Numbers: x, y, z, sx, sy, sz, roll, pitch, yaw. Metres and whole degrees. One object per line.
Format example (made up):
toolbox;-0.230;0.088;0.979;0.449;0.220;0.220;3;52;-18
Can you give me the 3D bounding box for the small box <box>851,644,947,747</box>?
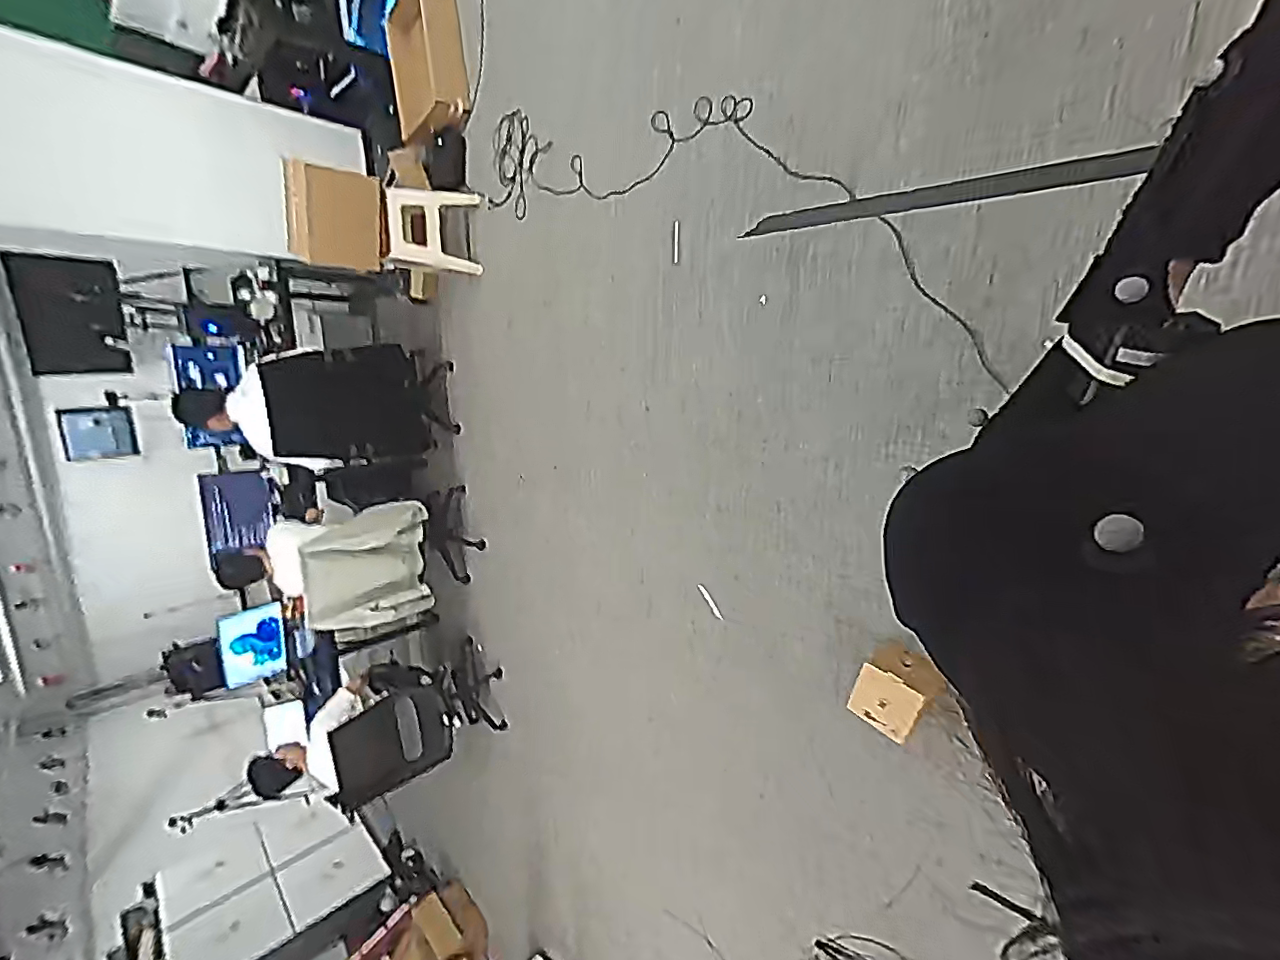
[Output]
small box;0.723;0.589;1.502;0.168;0.176;0.179;30;118;39
